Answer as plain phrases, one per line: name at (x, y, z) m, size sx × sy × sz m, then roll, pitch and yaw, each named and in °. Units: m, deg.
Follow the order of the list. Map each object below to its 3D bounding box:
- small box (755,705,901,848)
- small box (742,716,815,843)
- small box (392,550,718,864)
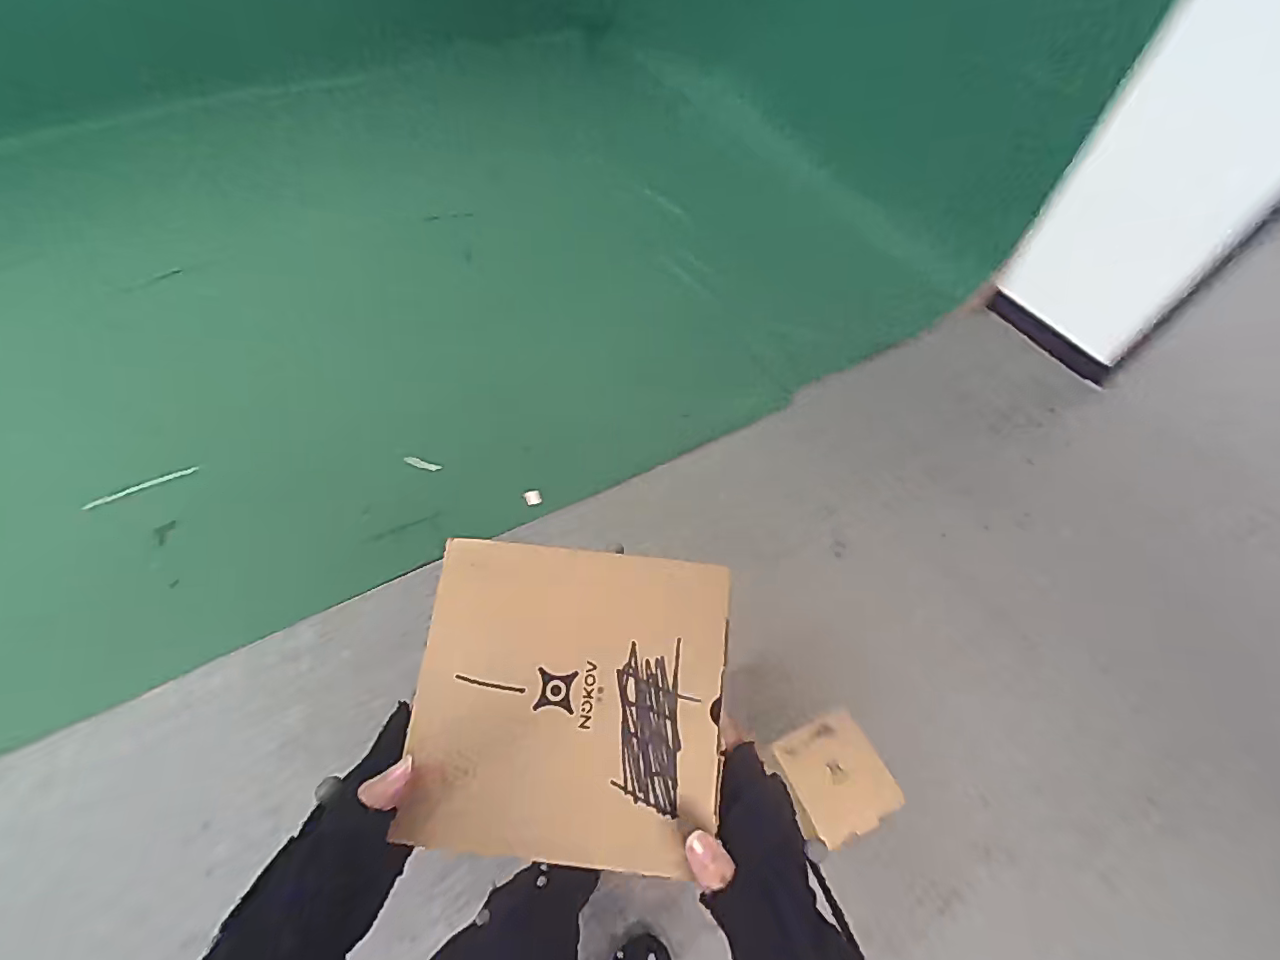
small box at (0.338, 0.552, 1.011) m, size 0.168 × 0.176 × 0.179 m, roll -21°, pitch 60°, yaw -14°
small box at (0.338, 0.637, 1.151) m, size 0.168 × 0.176 × 0.179 m, roll -23°, pitch 59°, yaw -15°
small box at (-0.046, 0.147, 0.387) m, size 0.179 × 0.176 × 0.168 m, roll 2°, pitch 73°, yaw -2°
